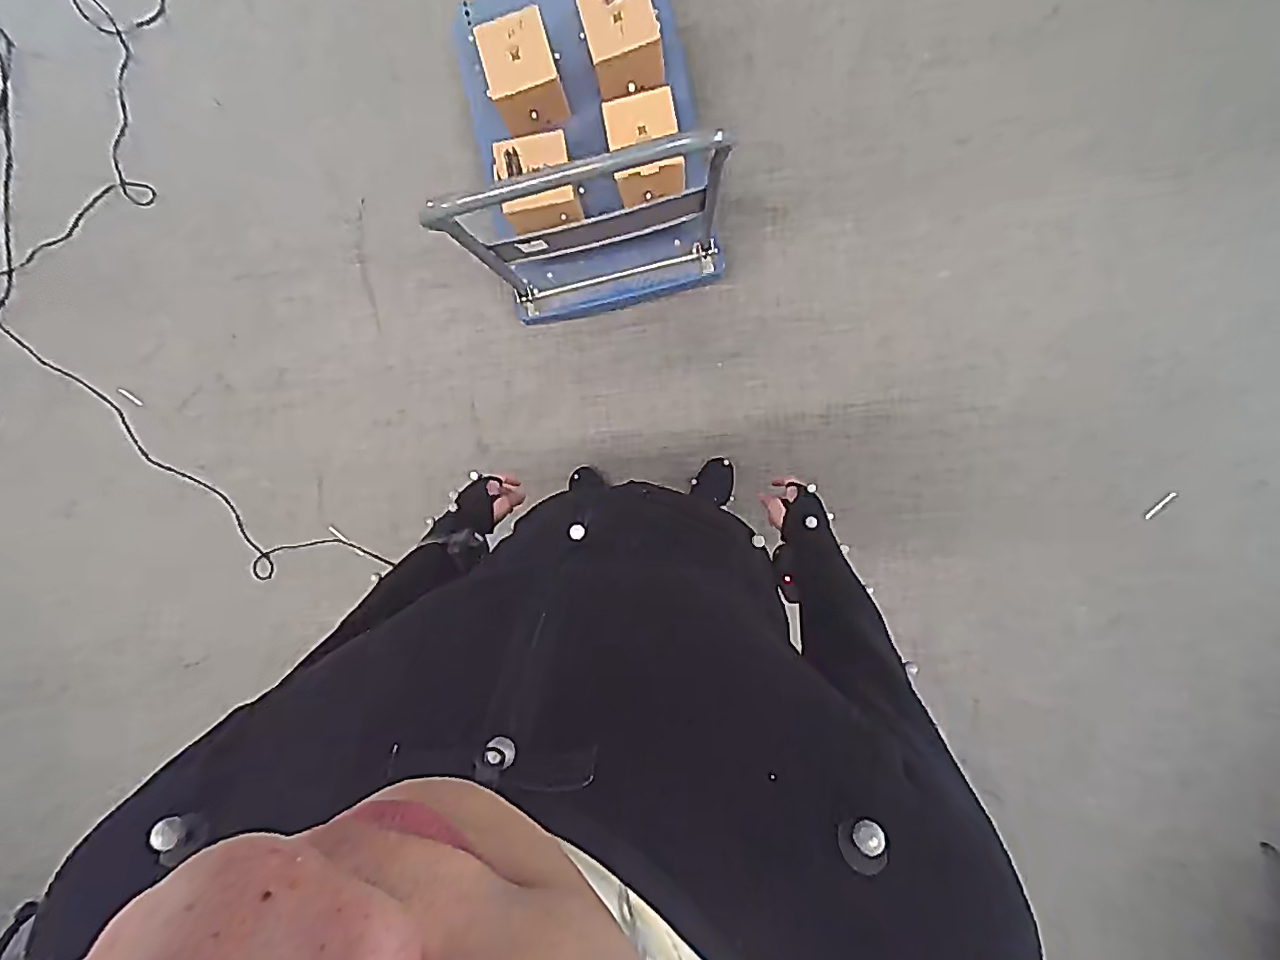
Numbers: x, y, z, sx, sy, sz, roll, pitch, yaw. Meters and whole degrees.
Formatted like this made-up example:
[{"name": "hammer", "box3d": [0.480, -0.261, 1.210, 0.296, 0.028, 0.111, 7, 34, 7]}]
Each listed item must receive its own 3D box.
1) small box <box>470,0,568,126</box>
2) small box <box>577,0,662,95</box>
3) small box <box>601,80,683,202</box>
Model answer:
[{"name": "small box", "box3d": [-0.289, -1.013, 1.331, 0.168, 0.176, 0.179, -15, 93, 5]}, {"name": "small box", "box3d": [-0.048, -1.082, 1.303, 0.168, 0.176, 0.179, -15, 94, 7]}, {"name": "small box", "box3d": [0.010, -0.818, 1.320, 0.168, 0.176, 0.179, -11, 94, 6]}]
